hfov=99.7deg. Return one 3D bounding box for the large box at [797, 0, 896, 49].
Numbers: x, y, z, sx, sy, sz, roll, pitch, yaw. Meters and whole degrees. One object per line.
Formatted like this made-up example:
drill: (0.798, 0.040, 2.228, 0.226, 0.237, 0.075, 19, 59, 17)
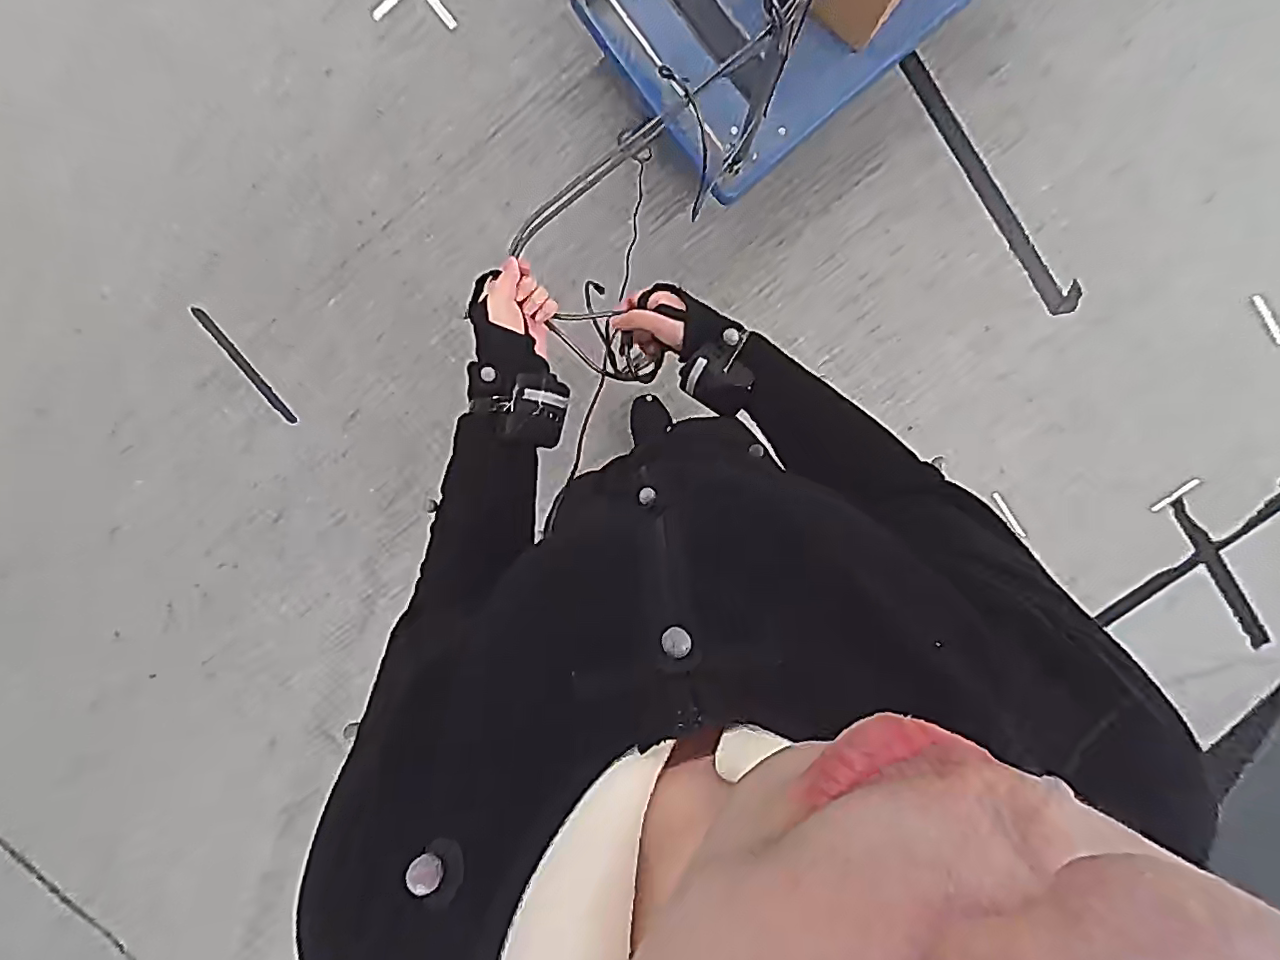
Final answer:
large box: (0.399, -1.136, 0.986, 0.408, 0.320, 0.320, 36, 98, -5)
